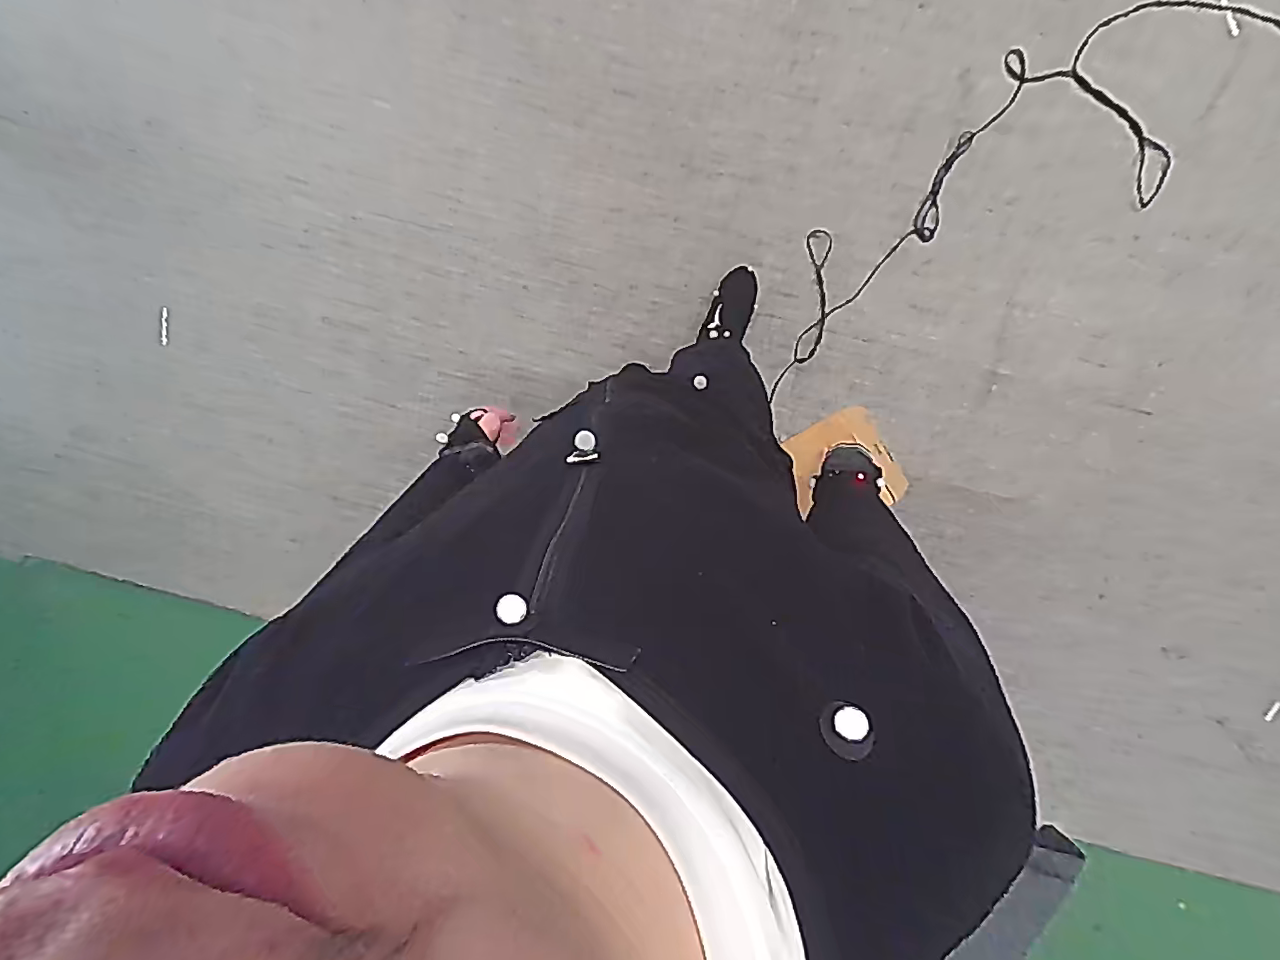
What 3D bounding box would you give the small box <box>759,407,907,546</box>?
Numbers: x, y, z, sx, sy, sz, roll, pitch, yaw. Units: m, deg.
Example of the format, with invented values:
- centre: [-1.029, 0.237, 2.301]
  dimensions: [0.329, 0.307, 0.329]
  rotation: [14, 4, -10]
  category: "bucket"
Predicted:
- centre: [0.330, -0.007, 0.933]
  dimensions: [0.176, 0.179, 0.168]
  rotation: [-36, 83, 30]
  category: "small box"
